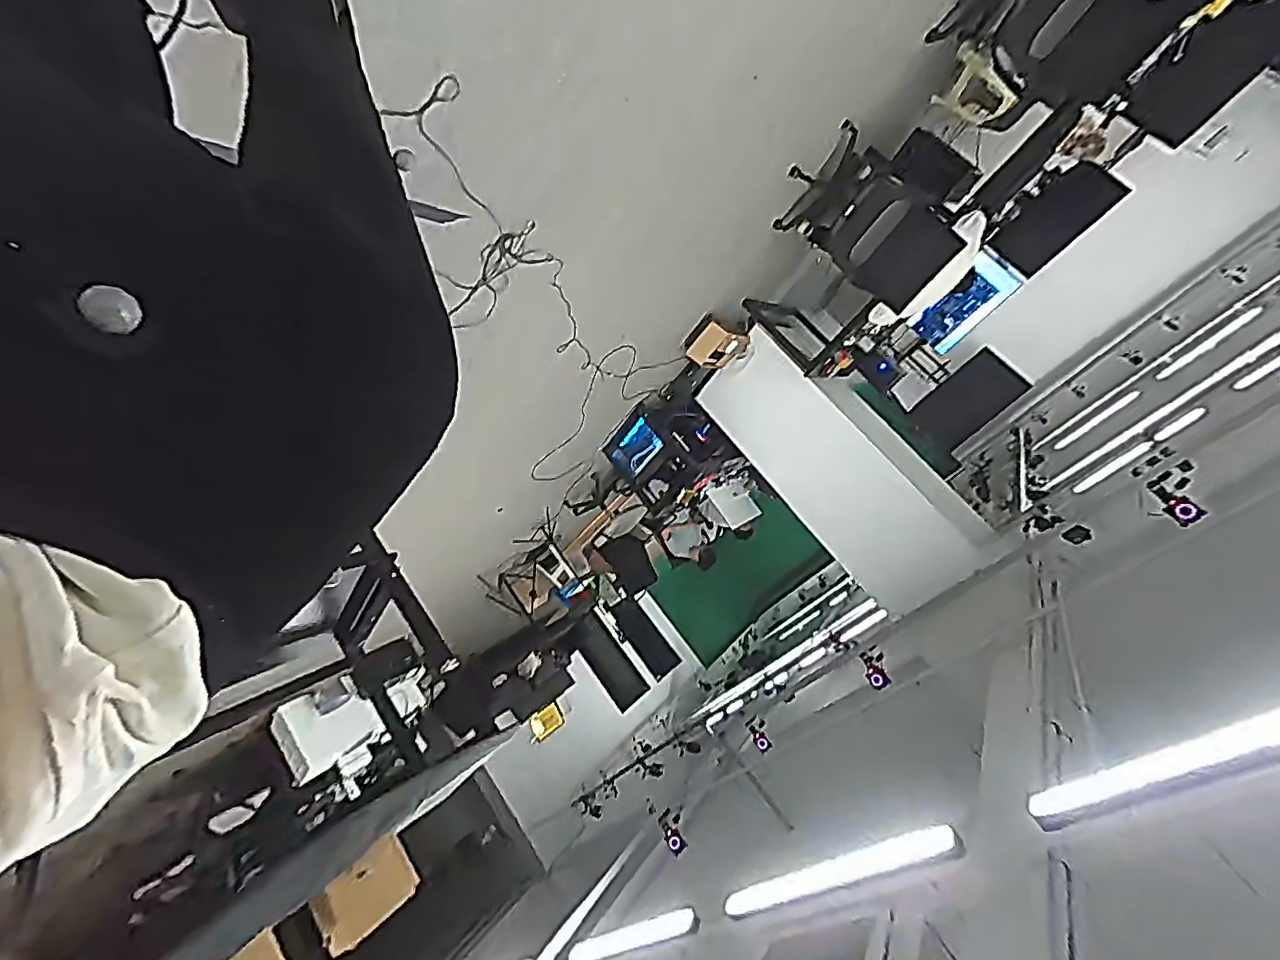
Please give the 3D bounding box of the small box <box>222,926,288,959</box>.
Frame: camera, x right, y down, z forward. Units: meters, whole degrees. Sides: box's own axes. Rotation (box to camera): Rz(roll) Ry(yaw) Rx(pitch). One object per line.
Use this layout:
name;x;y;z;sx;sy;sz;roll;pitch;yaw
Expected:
small box;-0.858;1.106;1.153;0.179;0.176;0.168;-46;164;33
